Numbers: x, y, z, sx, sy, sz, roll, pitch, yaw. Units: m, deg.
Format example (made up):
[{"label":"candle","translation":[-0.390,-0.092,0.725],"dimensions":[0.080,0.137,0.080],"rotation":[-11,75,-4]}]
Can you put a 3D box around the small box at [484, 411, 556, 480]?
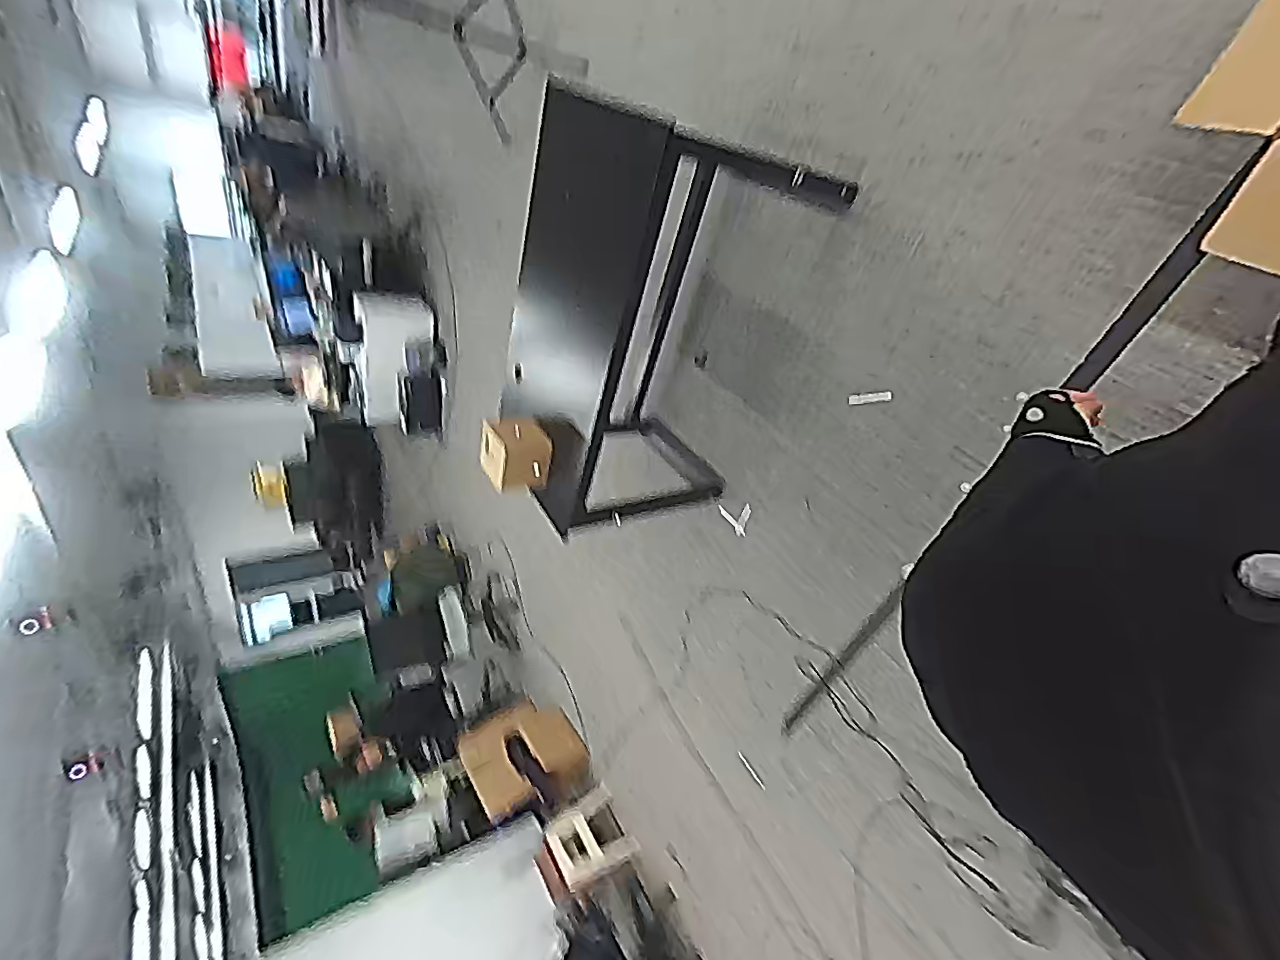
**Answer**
[{"label":"small box","translation":[-0.403,-0.122,1.809],"dimensions":[0.179,0.176,0.168],"rotation":[46,133,37]}]
